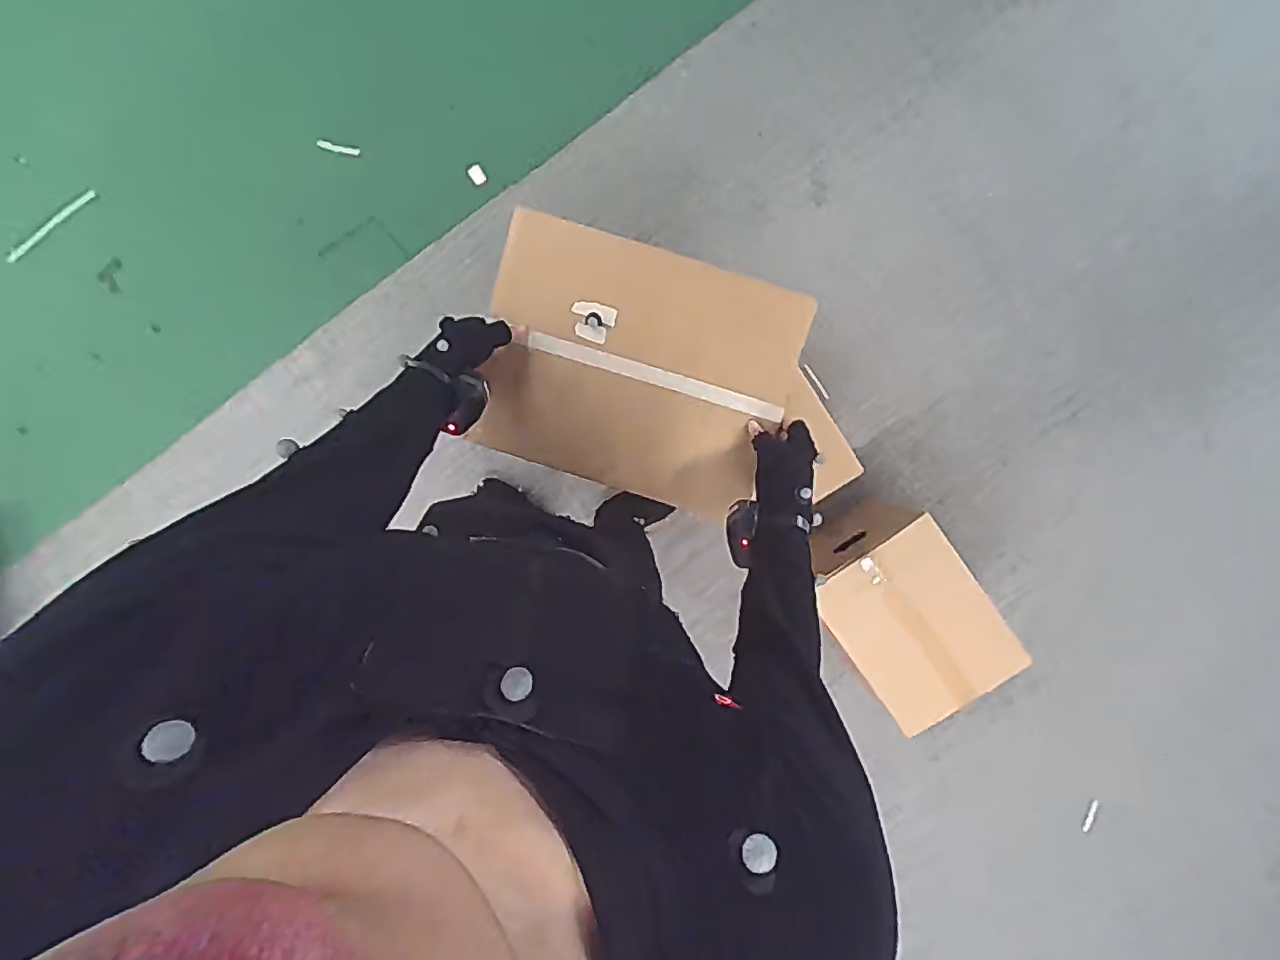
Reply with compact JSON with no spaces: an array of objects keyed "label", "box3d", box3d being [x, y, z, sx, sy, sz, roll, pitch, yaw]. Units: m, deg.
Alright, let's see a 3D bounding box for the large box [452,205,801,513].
[{"label":"large box","box3d":[-0.014,-0.175,0.850,0.408,0.320,0.320,17,99,2]}]
